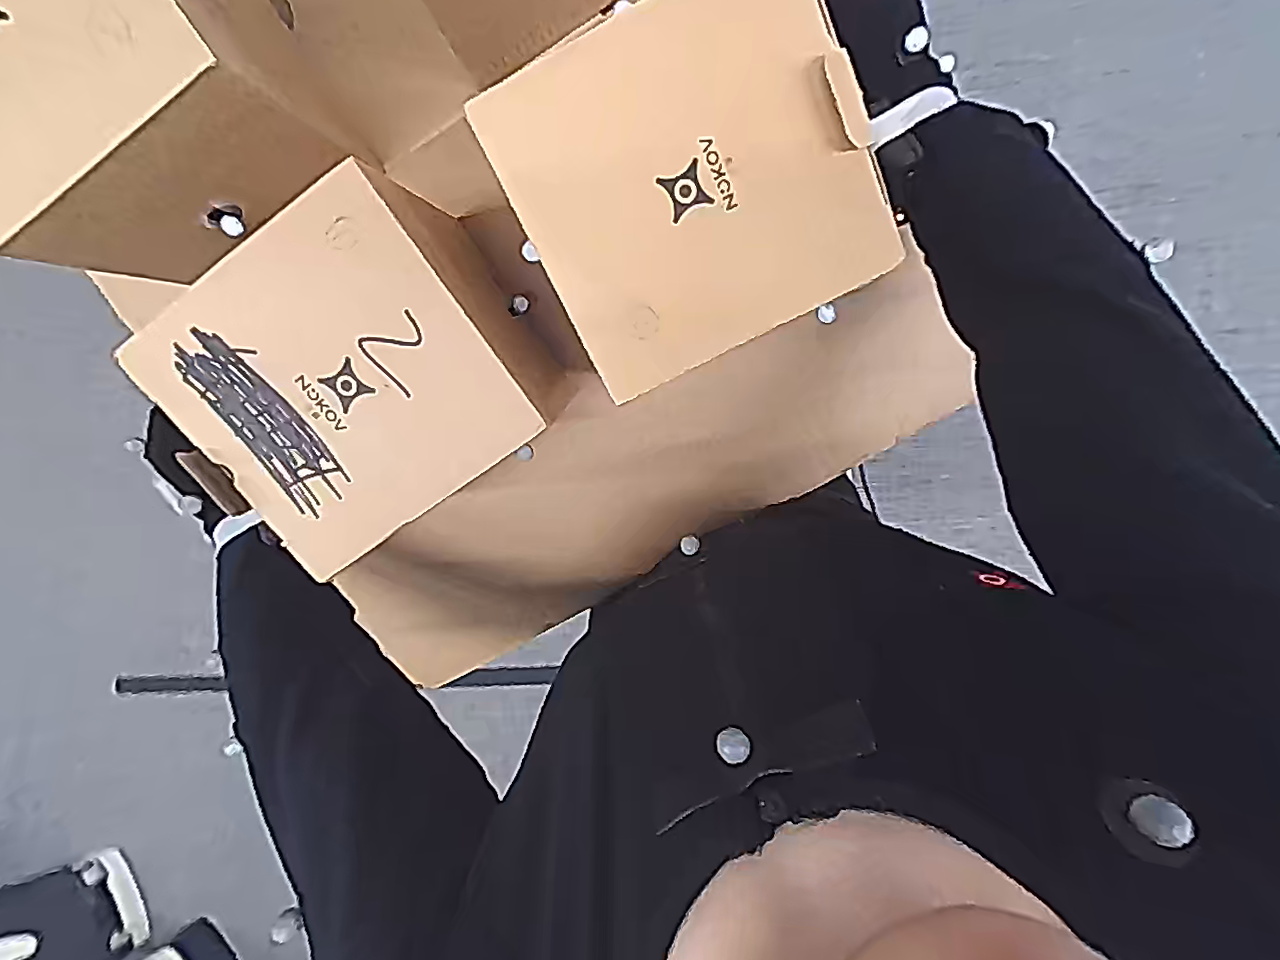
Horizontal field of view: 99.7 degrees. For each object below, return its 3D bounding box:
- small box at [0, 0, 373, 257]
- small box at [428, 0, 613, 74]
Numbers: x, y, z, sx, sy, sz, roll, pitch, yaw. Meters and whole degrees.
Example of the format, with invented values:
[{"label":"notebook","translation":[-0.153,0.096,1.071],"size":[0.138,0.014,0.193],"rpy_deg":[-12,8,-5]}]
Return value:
[{"label":"small box","translation":[-0.311,-0.260,0.335],"size":[0.168,0.176,0.179],"rpy_deg":[-29,100,8]},{"label":"small box","translation":[-0.080,-0.383,0.297],"size":[0.179,0.176,0.168],"rpy_deg":[-27,101,9]}]
